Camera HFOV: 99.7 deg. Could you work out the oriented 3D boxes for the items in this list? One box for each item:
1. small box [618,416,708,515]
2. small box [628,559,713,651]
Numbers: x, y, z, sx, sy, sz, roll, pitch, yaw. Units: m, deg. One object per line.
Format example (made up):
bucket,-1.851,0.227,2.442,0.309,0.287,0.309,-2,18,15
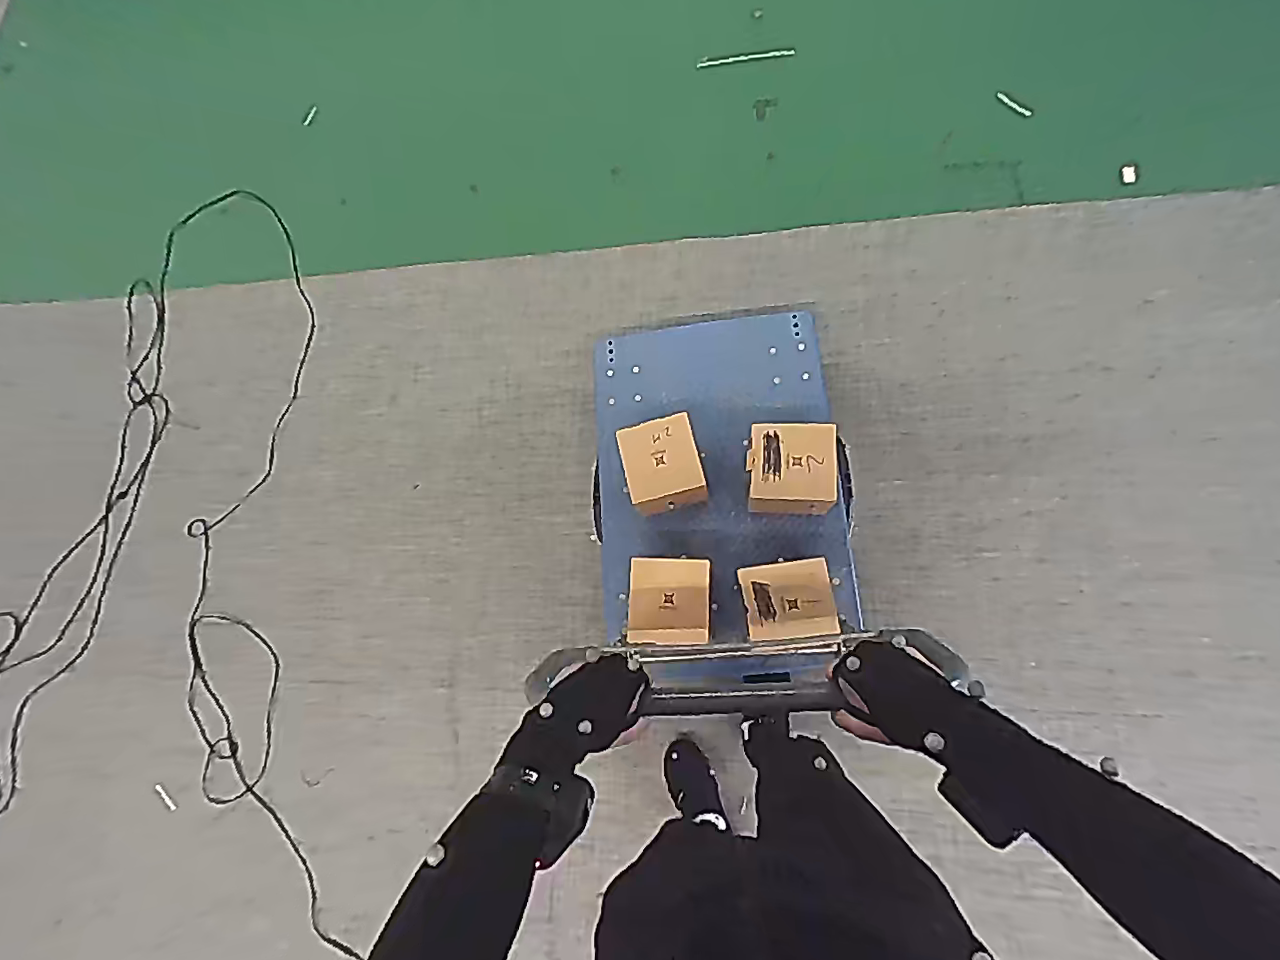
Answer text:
small box,0.059,-0.024,1.250,0.168,0.176,0.179,-14,74,5
small box,0.072,0.271,1.176,0.168,0.176,0.179,1,77,9
